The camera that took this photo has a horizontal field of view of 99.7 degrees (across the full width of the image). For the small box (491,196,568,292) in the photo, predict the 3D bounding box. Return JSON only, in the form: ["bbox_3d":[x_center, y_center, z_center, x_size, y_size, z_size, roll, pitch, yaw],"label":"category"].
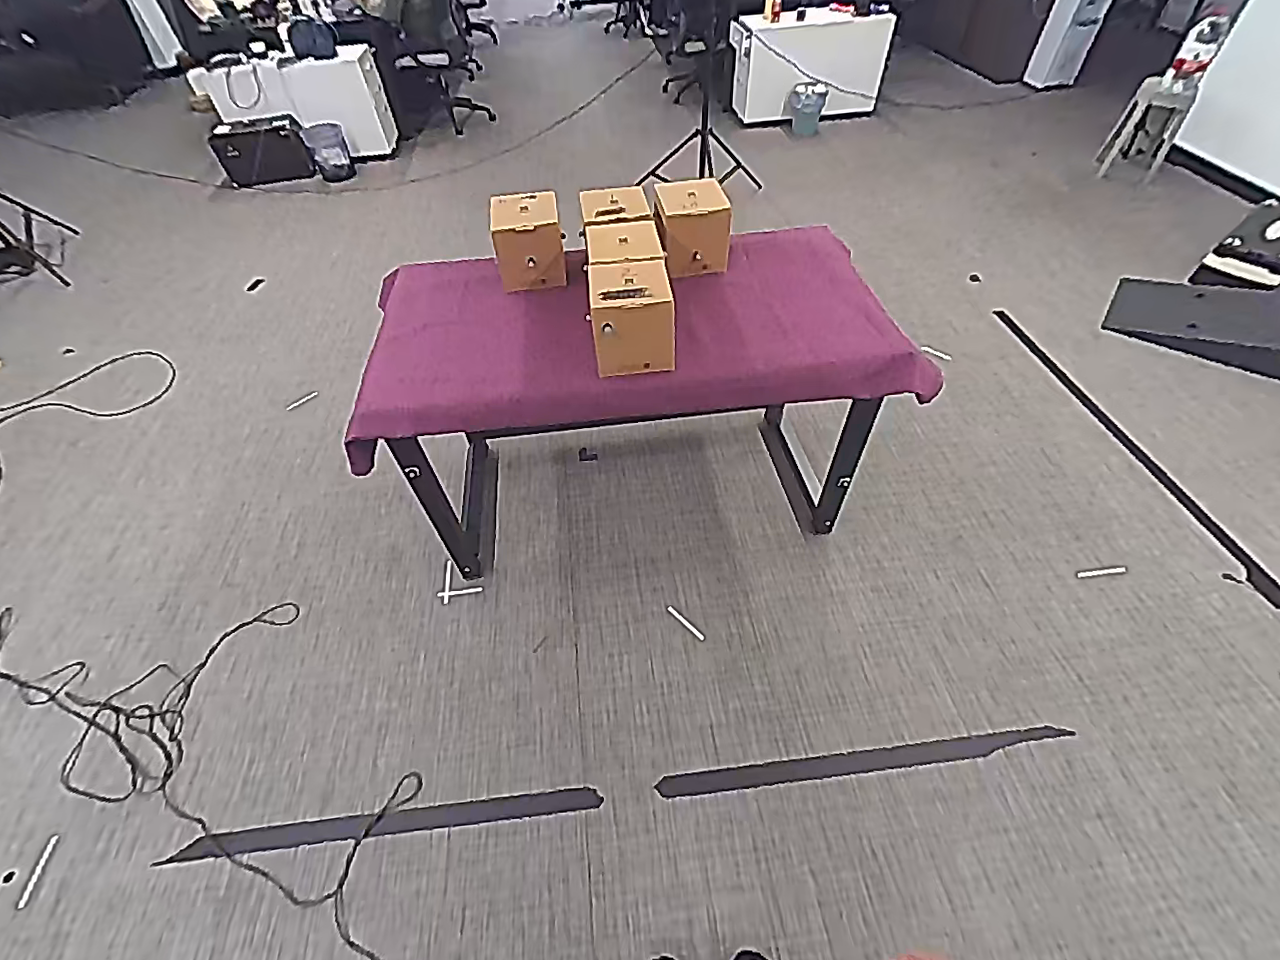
[{"bbox_3d":[-0.283,-0.606,1.402,0.168,0.176,0.179,-8,53,-4],"label":"small box"}]
